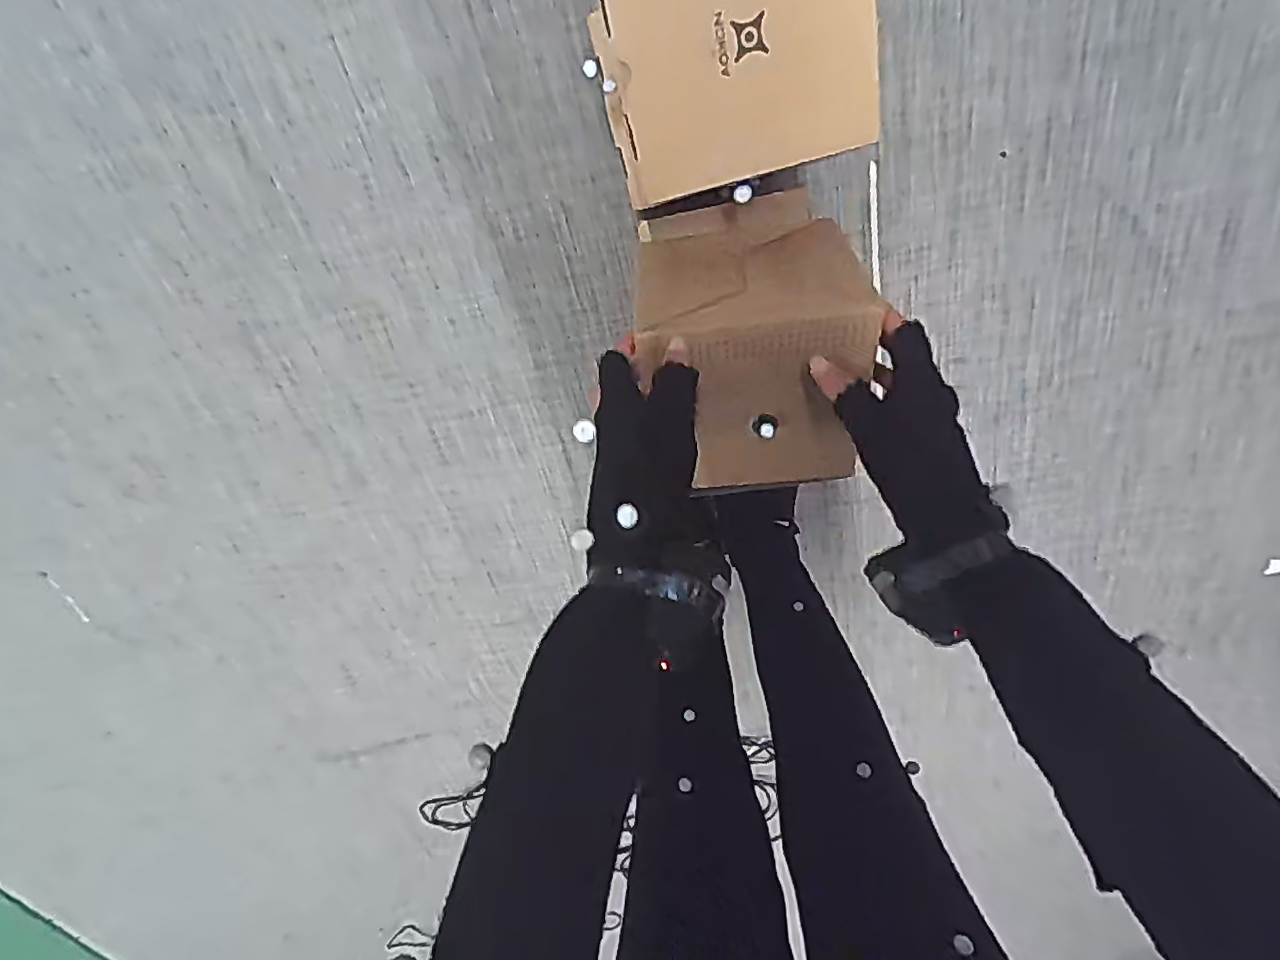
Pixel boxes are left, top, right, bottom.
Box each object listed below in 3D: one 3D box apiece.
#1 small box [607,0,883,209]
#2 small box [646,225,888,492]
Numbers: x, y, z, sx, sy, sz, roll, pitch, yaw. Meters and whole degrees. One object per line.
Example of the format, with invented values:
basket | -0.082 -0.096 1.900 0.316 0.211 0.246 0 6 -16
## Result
small box | 0.075 -0.331 0.435 0.179 0.176 0.168 -11 117 8
small box | 0.099 -0.109 0.485 0.179 0.168 0.176 -5 136 8
